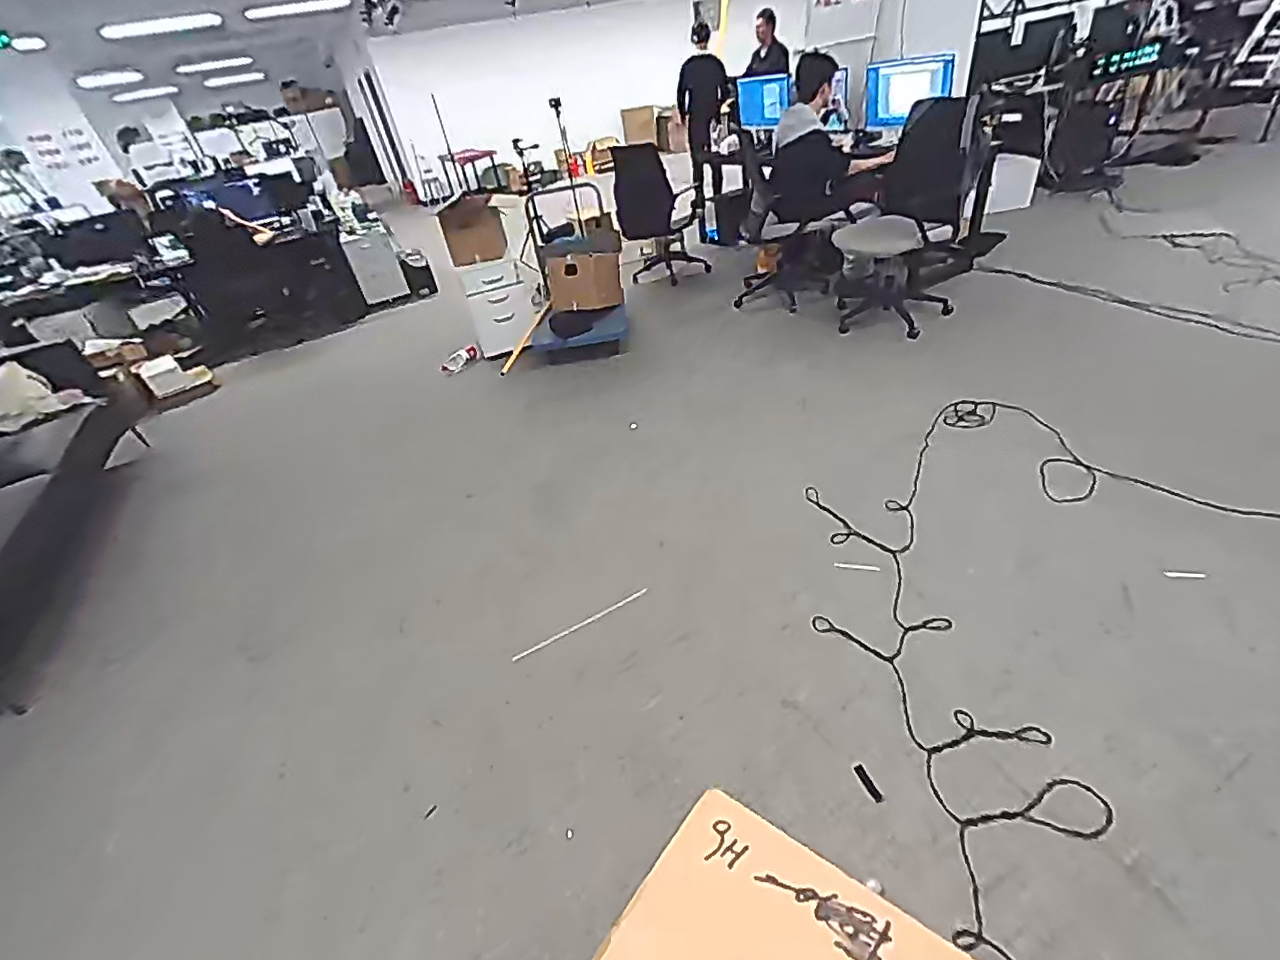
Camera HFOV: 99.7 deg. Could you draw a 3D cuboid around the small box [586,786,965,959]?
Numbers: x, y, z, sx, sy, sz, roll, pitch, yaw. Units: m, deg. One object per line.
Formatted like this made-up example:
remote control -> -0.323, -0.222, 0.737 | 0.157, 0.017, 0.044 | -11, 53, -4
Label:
small box -> 0.068, 0.328, 0.299 | 0.168, 0.176, 0.179 | 14, 43, 39
